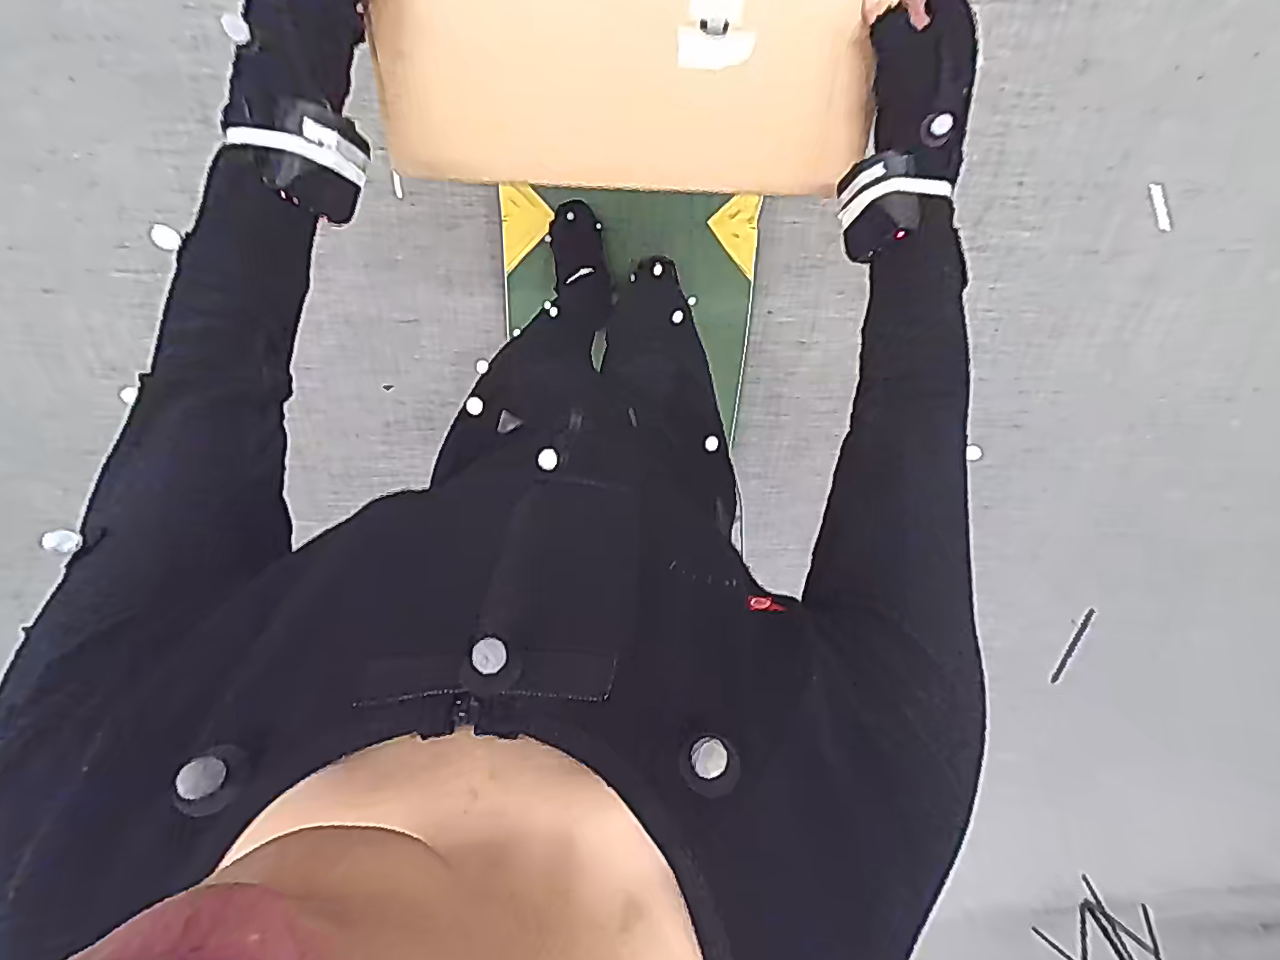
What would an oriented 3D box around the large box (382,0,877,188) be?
[{"bbox_3d":[-0.010,-0.480,0.546,0.408,0.320,0.320,1,121,-2],"label":"large box"}]
